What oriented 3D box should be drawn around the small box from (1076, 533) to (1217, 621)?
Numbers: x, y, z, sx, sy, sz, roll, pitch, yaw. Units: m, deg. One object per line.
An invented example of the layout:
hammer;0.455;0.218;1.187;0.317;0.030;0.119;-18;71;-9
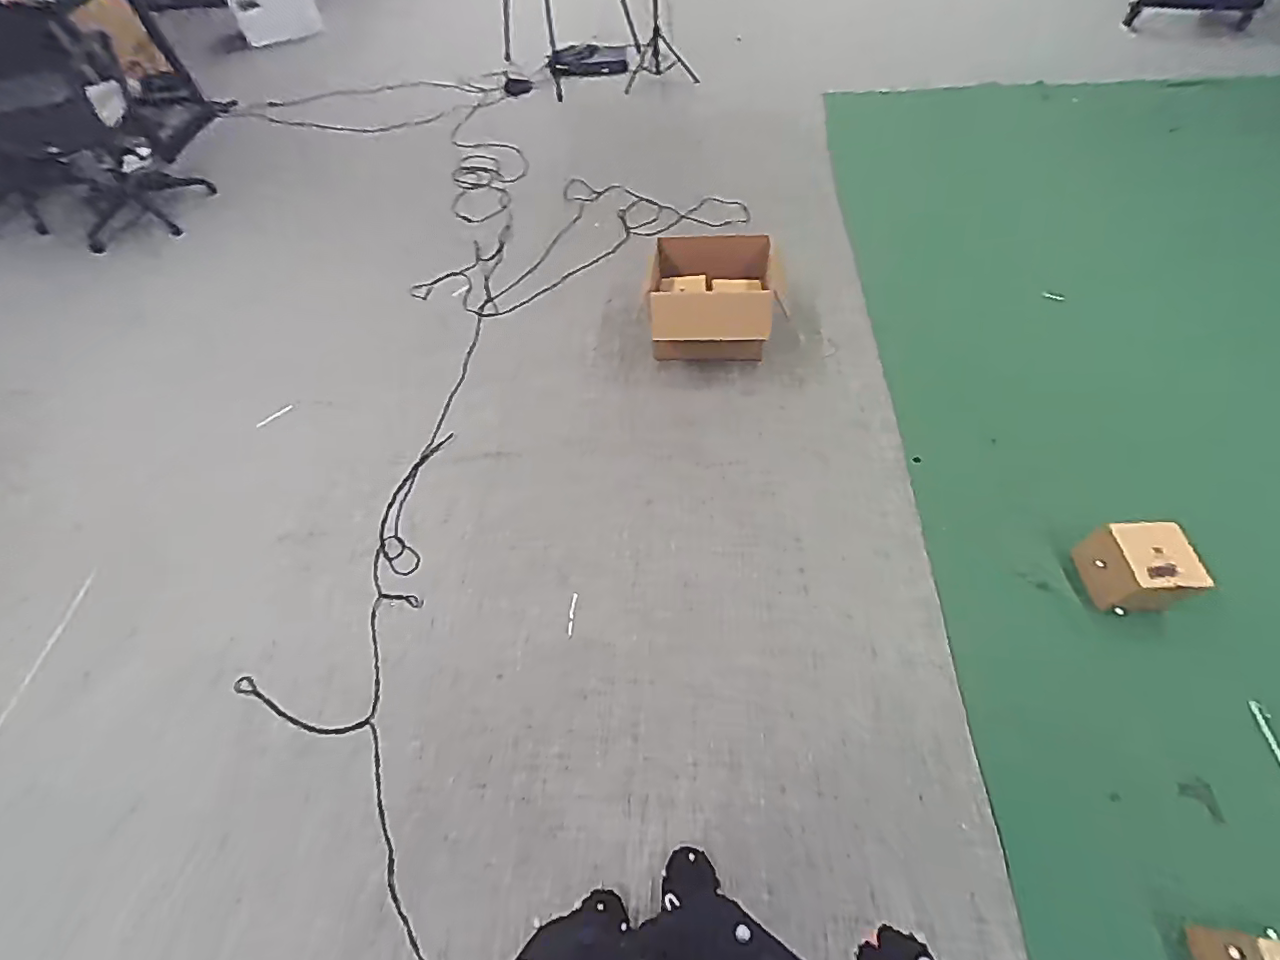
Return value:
small box;1.268;0.250;1.371;0.168;0.176;0.179;-1;55;4
